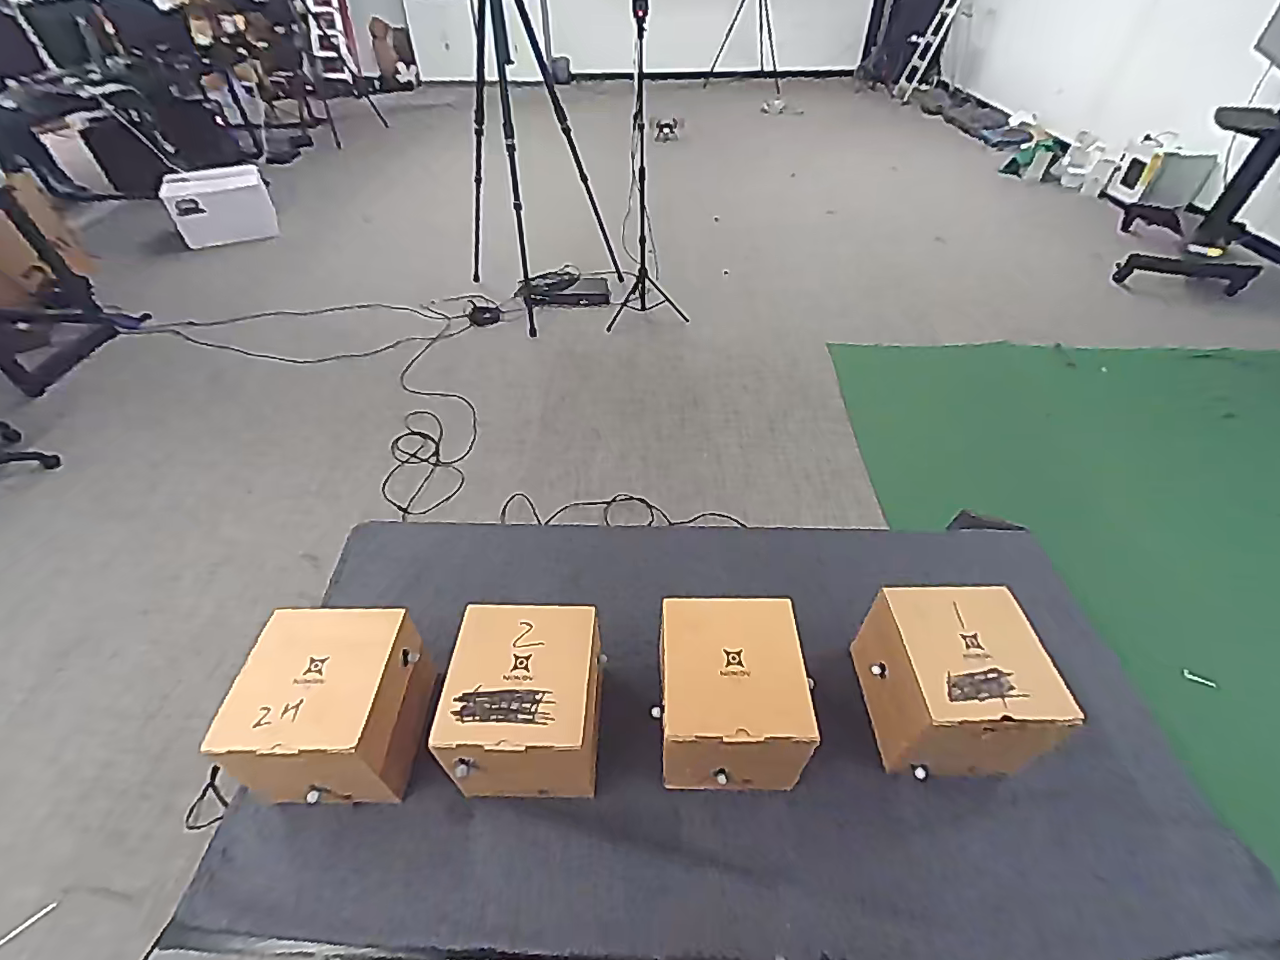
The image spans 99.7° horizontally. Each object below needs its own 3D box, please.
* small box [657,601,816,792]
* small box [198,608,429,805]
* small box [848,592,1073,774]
[{"bbox_3d":[0.107,0.276,0.691,0.168,0.176,0.179,1,46,0],"label":"small box"},{"bbox_3d":[-0.380,0.281,0.675,0.168,0.176,0.179,1,44,-1],"label":"small box"},{"bbox_3d":[0.390,0.264,0.699,0.168,0.176,0.179,0,44,0],"label":"small box"}]
